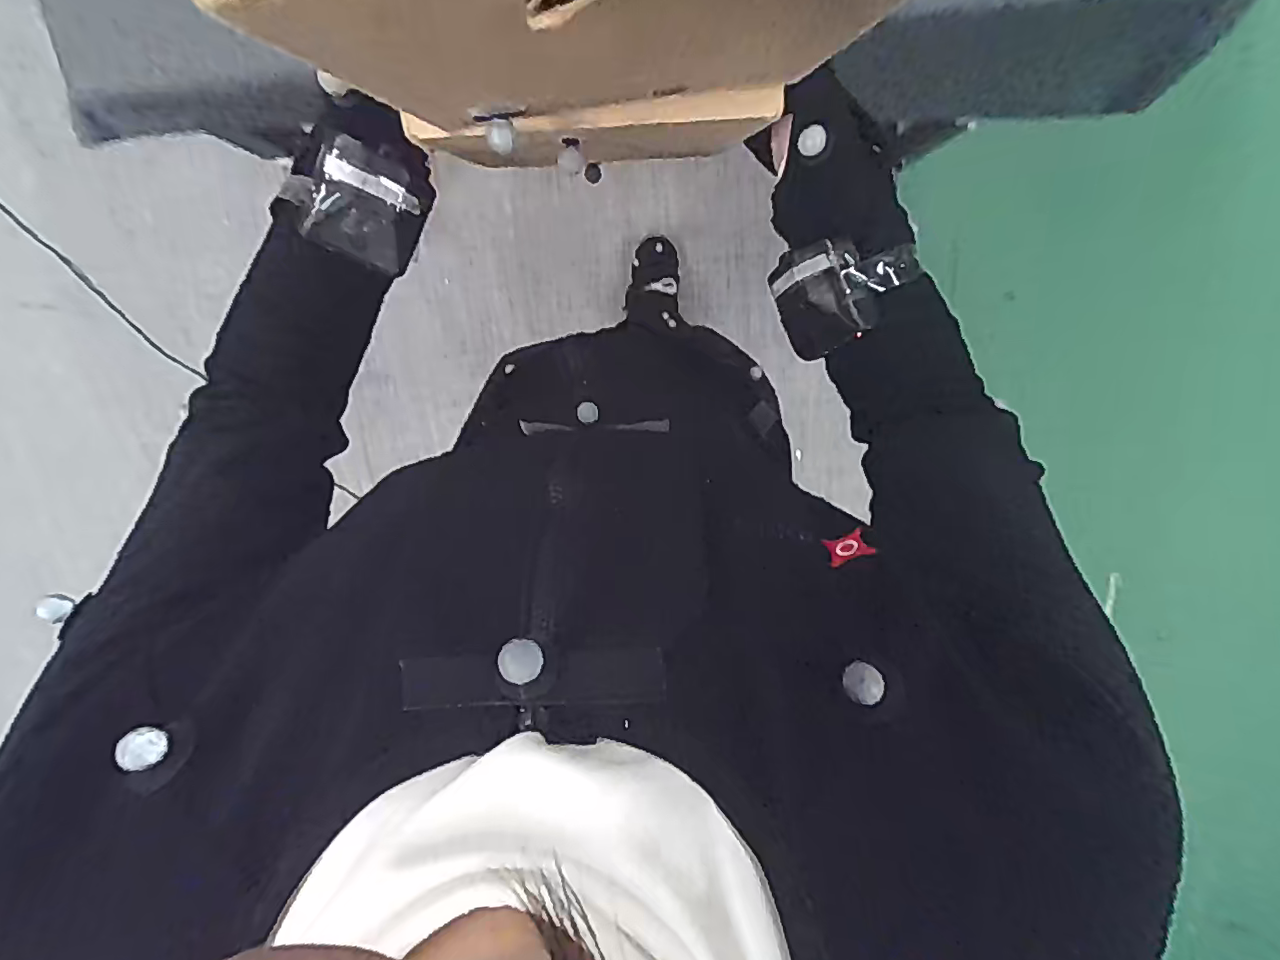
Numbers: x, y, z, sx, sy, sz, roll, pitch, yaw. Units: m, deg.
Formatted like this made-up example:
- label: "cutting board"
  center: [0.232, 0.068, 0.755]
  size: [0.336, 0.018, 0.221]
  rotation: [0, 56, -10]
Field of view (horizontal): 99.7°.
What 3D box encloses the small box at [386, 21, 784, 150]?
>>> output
- label: "small box"
  center: [-0.033, -0.287, 0.283]
  size: [0.179, 0.176, 0.168]
  rotation: [-7, 114, 0]
